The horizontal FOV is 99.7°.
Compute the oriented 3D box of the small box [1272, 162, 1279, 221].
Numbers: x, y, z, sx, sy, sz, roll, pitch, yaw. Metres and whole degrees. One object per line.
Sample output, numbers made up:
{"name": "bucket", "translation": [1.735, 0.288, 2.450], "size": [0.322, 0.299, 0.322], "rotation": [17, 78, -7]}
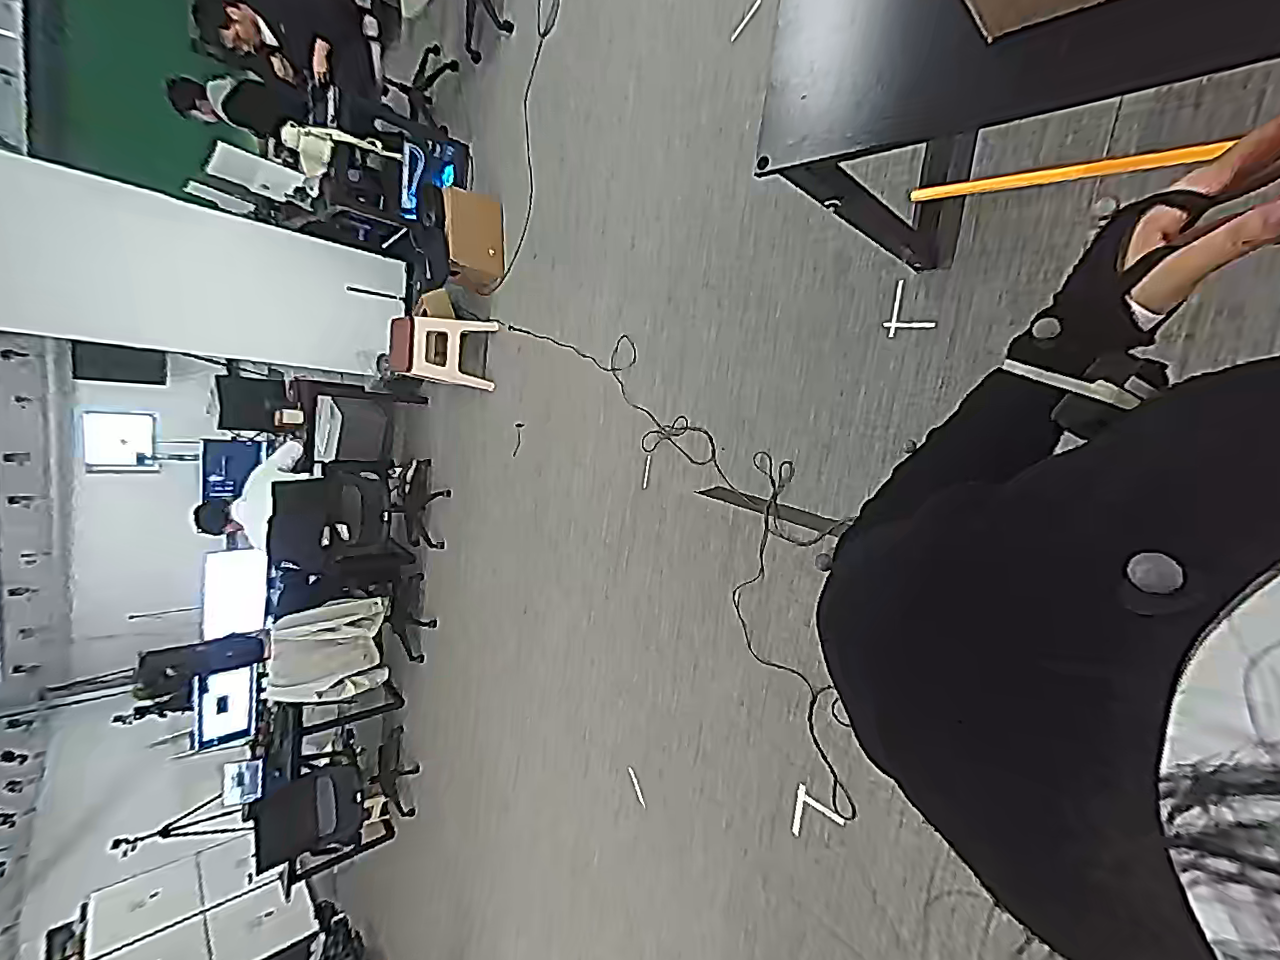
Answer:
{"name": "small box", "translation": [0.458, -0.235, 0.265], "size": [0.168, 0.176, 0.179], "rotation": [14, 110, 44]}
